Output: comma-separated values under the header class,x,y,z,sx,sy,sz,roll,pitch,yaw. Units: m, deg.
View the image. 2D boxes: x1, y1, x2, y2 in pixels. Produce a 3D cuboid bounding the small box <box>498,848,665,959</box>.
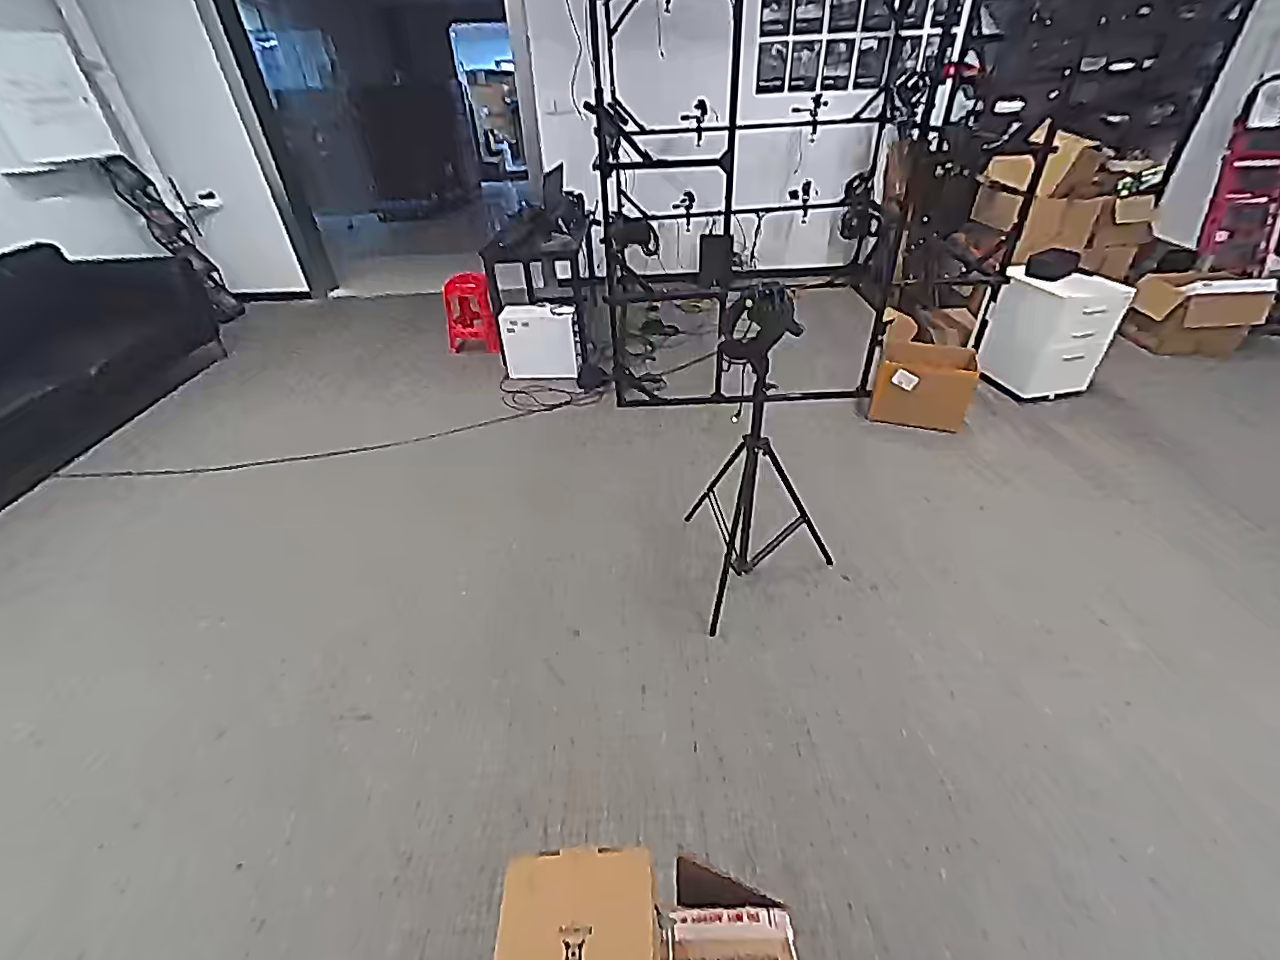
class,x,y,z,sx,sy,sz,roll,pitch,yaw
small box,-0.058,0.540,0.599,0.168,0.176,0.179,-5,39,1
